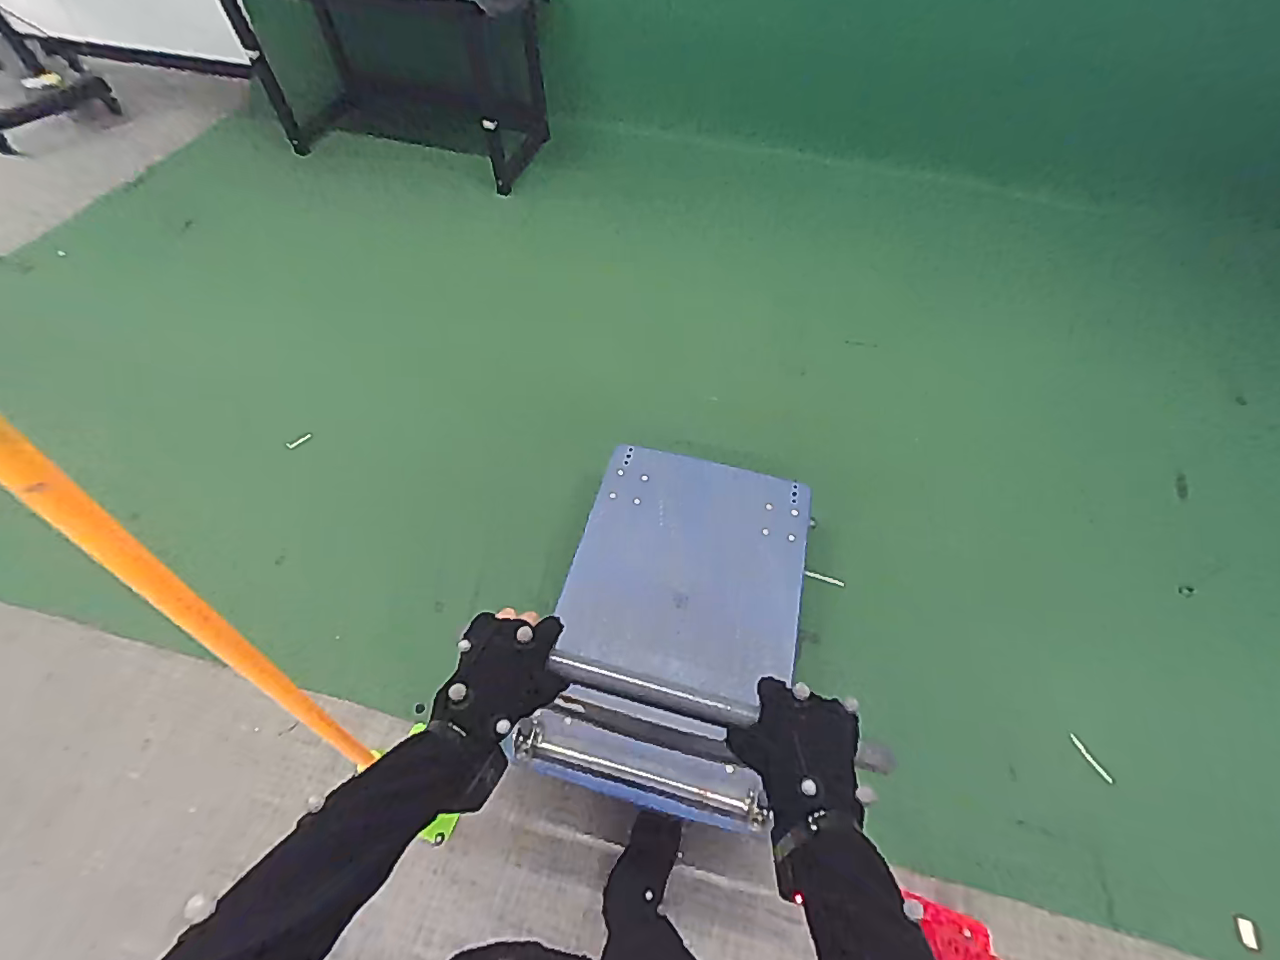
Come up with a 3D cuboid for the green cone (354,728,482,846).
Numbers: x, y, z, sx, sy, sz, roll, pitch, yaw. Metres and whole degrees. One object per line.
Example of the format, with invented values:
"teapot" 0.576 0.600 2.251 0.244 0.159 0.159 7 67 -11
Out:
"green cone" -0.488 0.604 1.109 0.202 0.368 0.200 17 56 10
